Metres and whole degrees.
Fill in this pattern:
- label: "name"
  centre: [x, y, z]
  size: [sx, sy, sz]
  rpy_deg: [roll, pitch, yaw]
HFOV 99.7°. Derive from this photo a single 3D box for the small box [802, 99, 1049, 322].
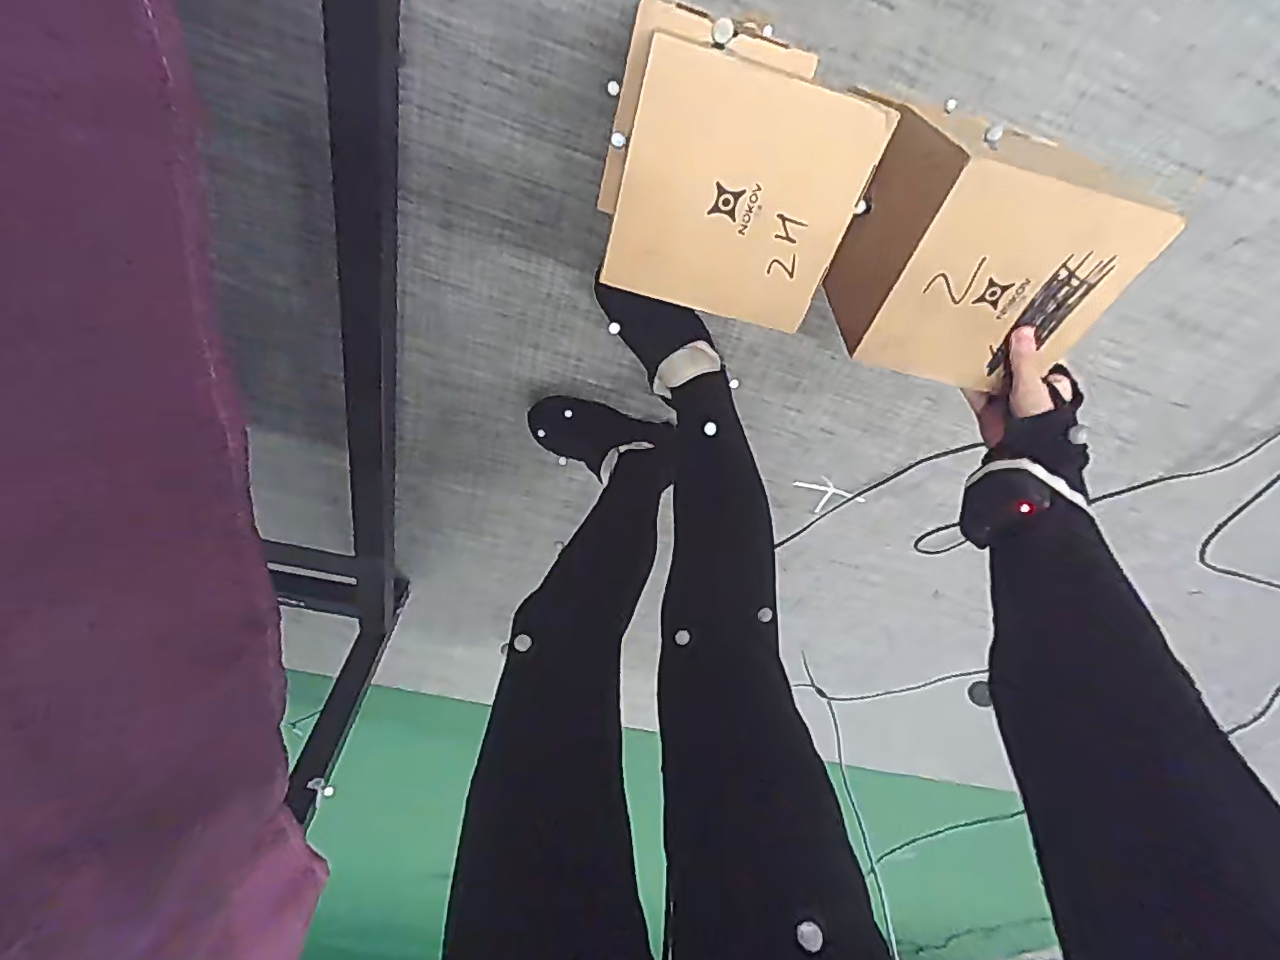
- label: "small box"
  centre: [0.301, -0.311, 0.623]
  size: [0.168, 0.176, 0.179]
  rpy_deg: [10, 129, -6]
